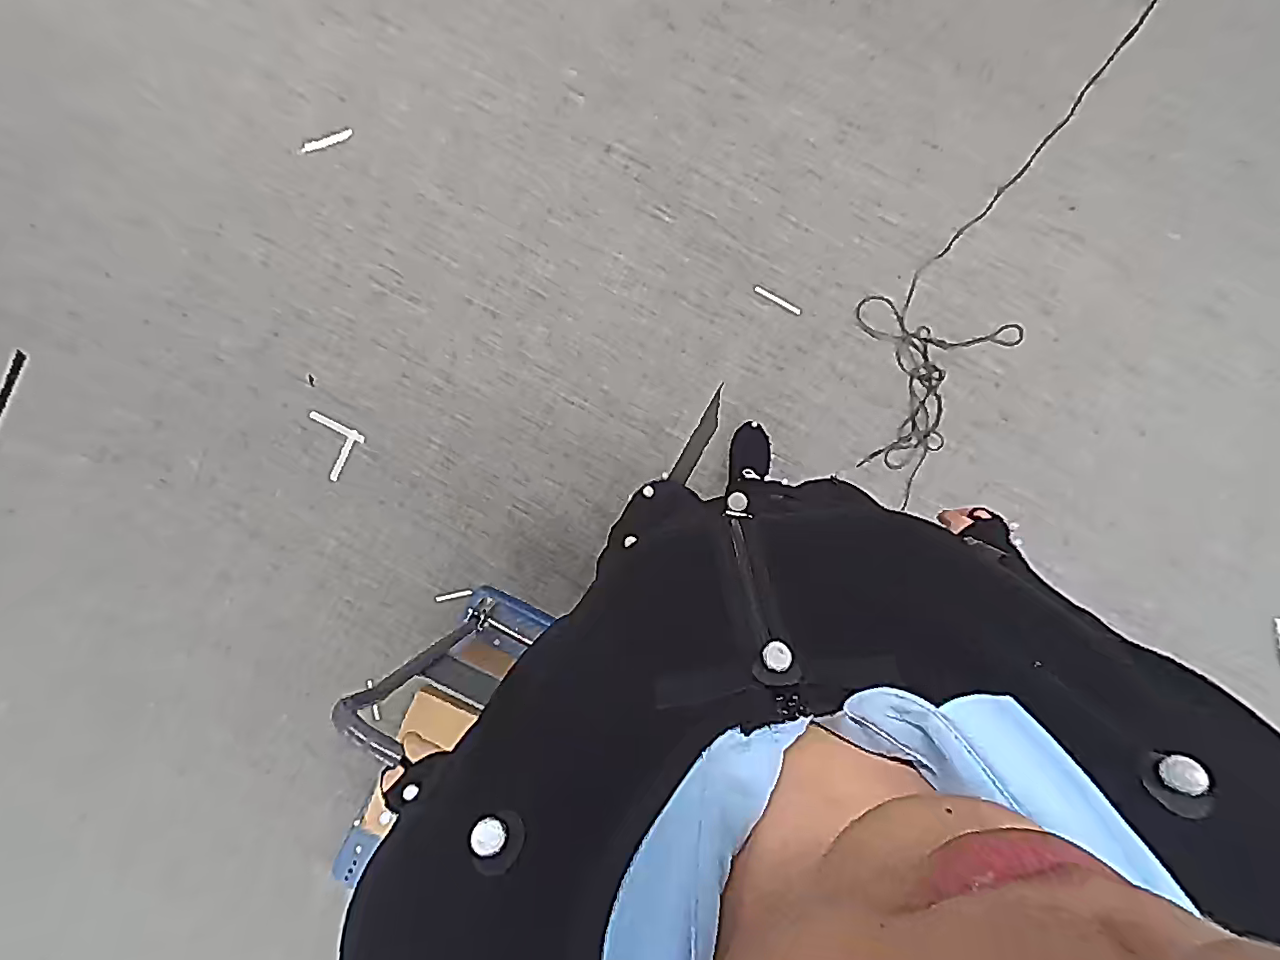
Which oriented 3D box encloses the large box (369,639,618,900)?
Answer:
[{"bbox_3d":[-0.300,0.620,1.224,0.408,0.320,0.320,24,92,3],"label":"large box"}]
